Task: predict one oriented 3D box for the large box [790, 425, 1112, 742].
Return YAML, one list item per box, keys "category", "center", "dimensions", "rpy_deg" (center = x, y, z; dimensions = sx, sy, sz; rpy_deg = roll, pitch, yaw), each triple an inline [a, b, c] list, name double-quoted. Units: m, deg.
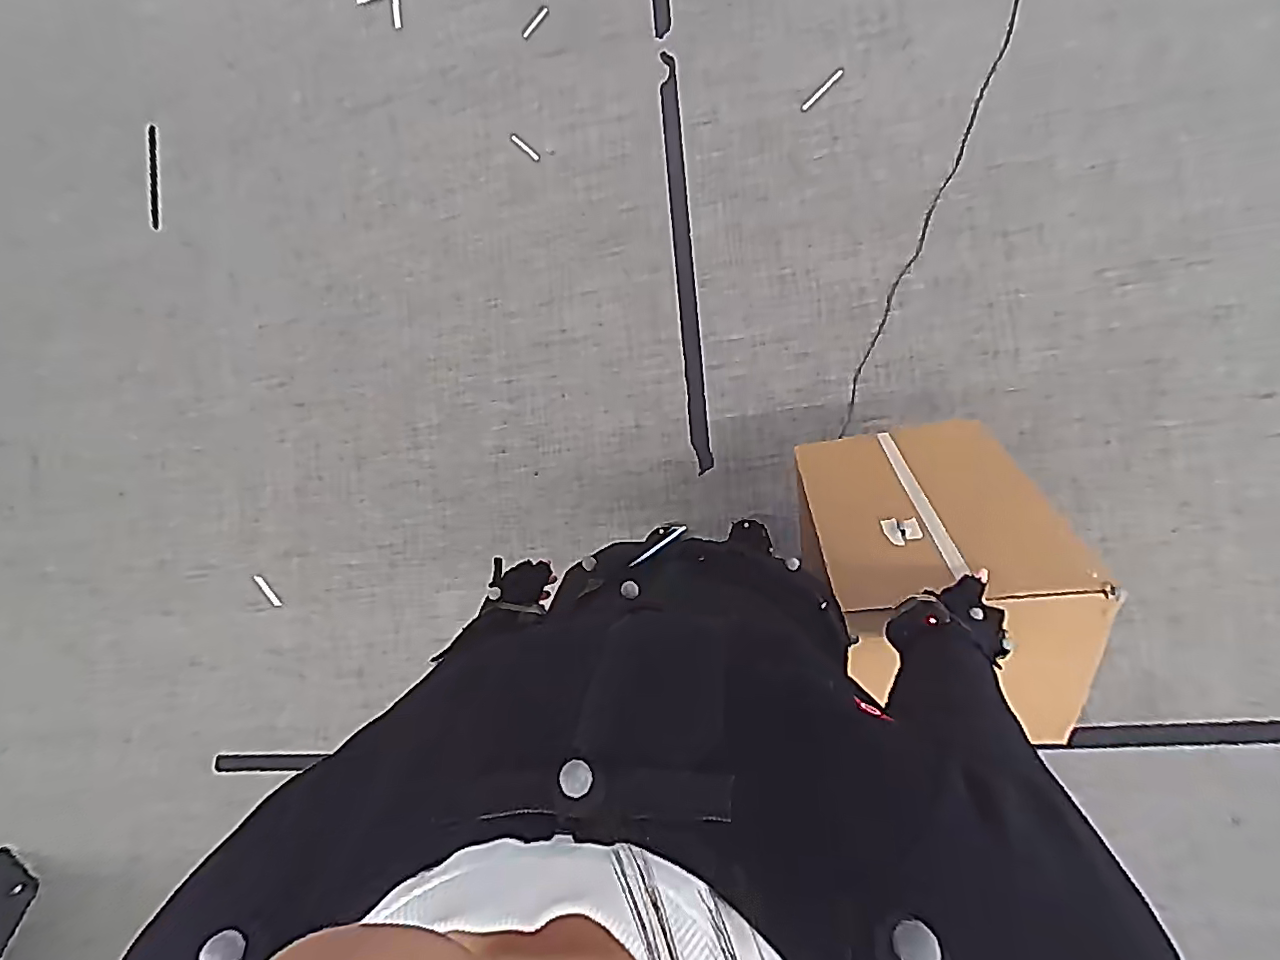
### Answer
- category: "large box"
  center: [0.442, 0.157, 0.890]
  dimensions: [0.320, 0.408, 0.320]
  rpy_deg: [-8, 124, 12]
